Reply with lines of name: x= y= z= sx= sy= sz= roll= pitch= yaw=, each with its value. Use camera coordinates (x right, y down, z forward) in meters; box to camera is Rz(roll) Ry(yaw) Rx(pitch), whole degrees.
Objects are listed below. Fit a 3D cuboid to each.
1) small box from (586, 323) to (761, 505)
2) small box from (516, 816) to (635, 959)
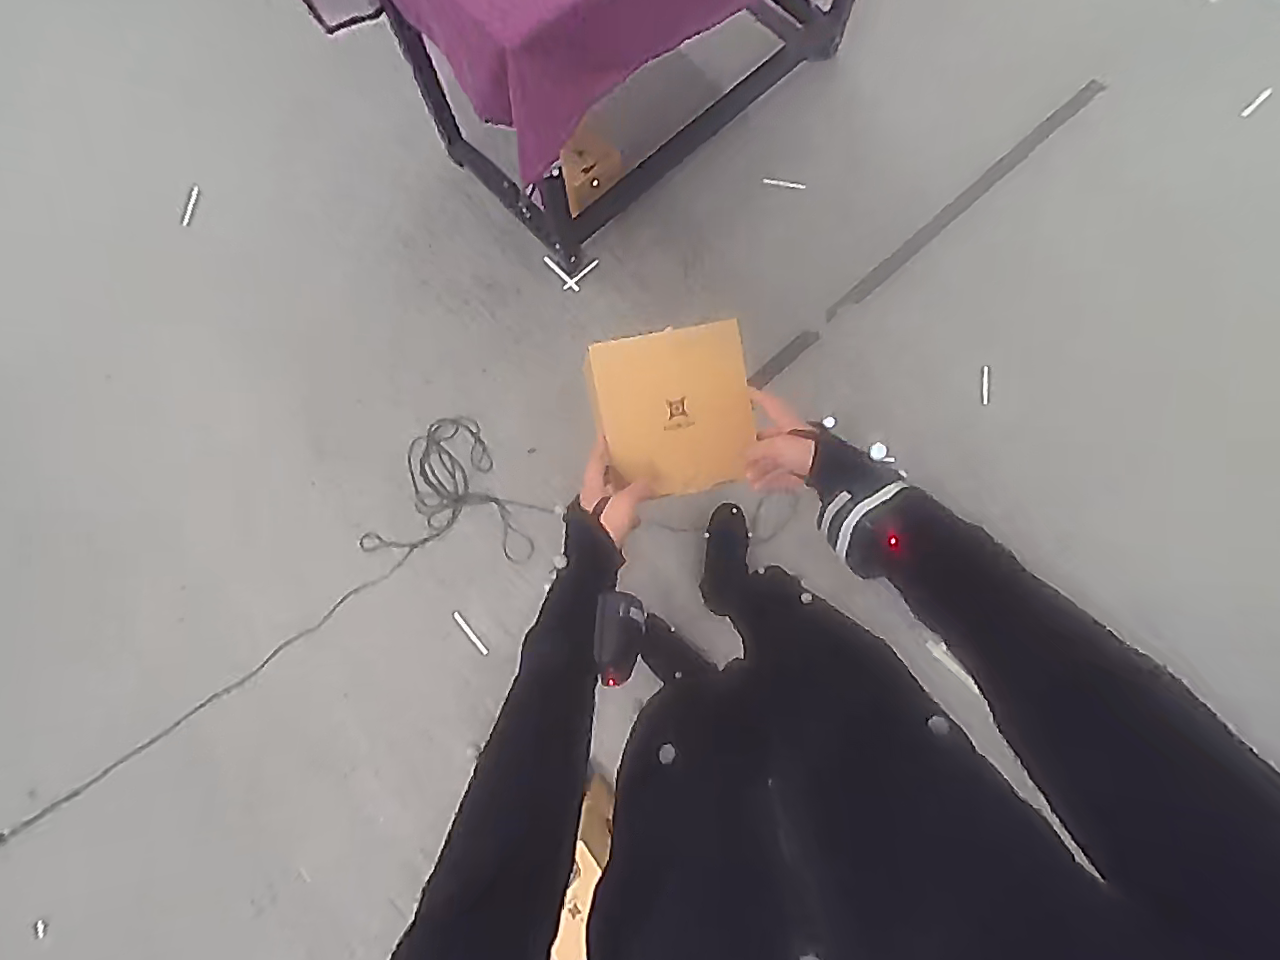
small box: x=0.030 y=-0.077 z=0.659 sx=0.168 sy=0.176 sz=0.179 roll=-11 pitch=97 yaw=-6
small box: x=-0.125 y=0.831 z=1.110 sx=0.168 sy=0.176 sz=0.179 roll=-37 pitch=82 yaw=-6
